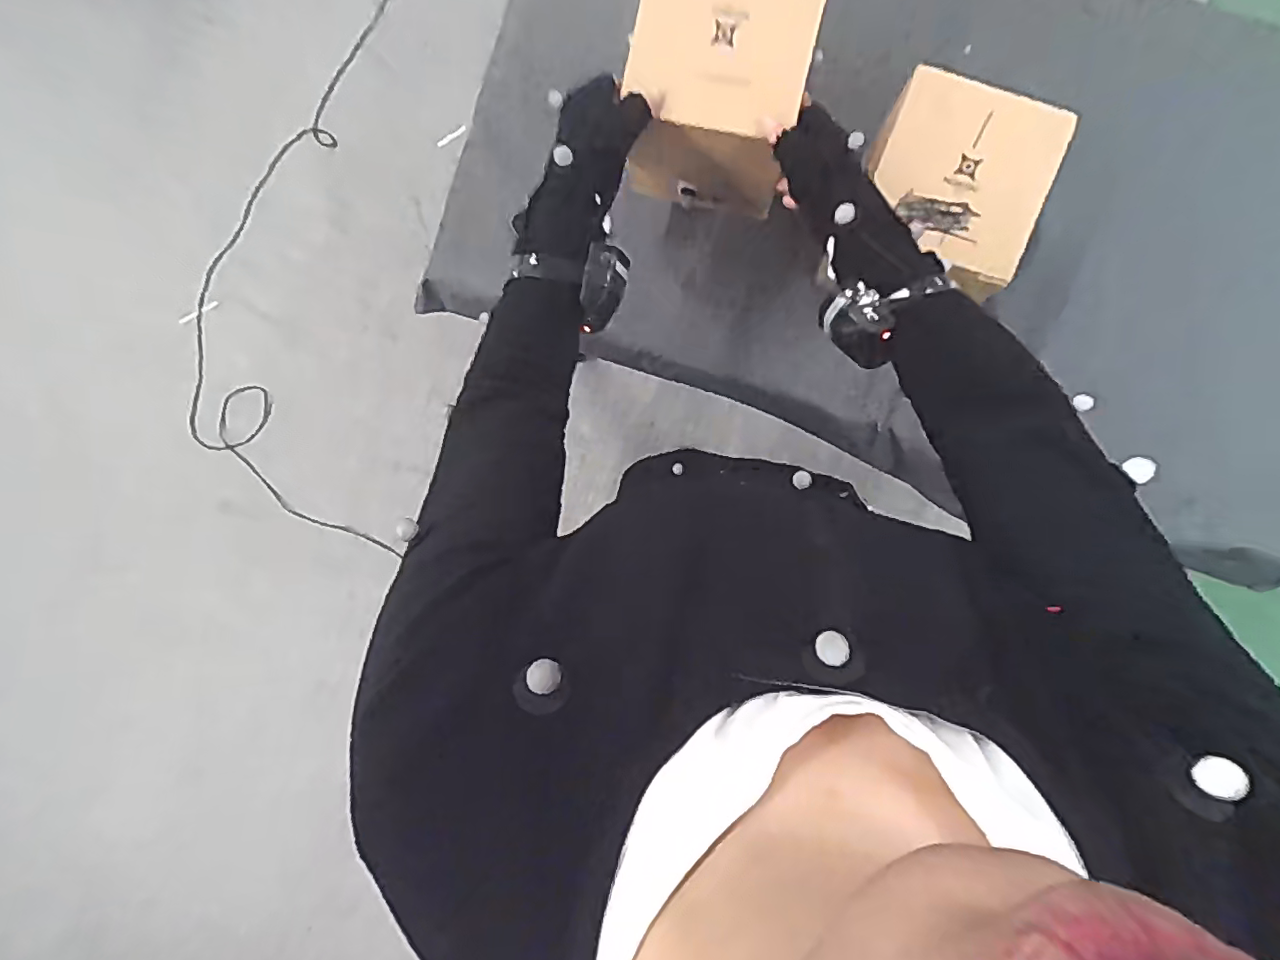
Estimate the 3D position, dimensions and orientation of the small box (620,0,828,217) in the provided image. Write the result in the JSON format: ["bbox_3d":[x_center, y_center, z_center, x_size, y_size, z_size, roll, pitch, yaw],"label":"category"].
[{"bbox_3d":[0.085,-0.409,0.562,0.168,0.176,0.179,13,94,5],"label":"small box"}]

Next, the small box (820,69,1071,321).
[{"bbox_3d":[0.324,-0.304,0.618,0.168,0.176,0.179,22,93,3],"label":"small box"}]
